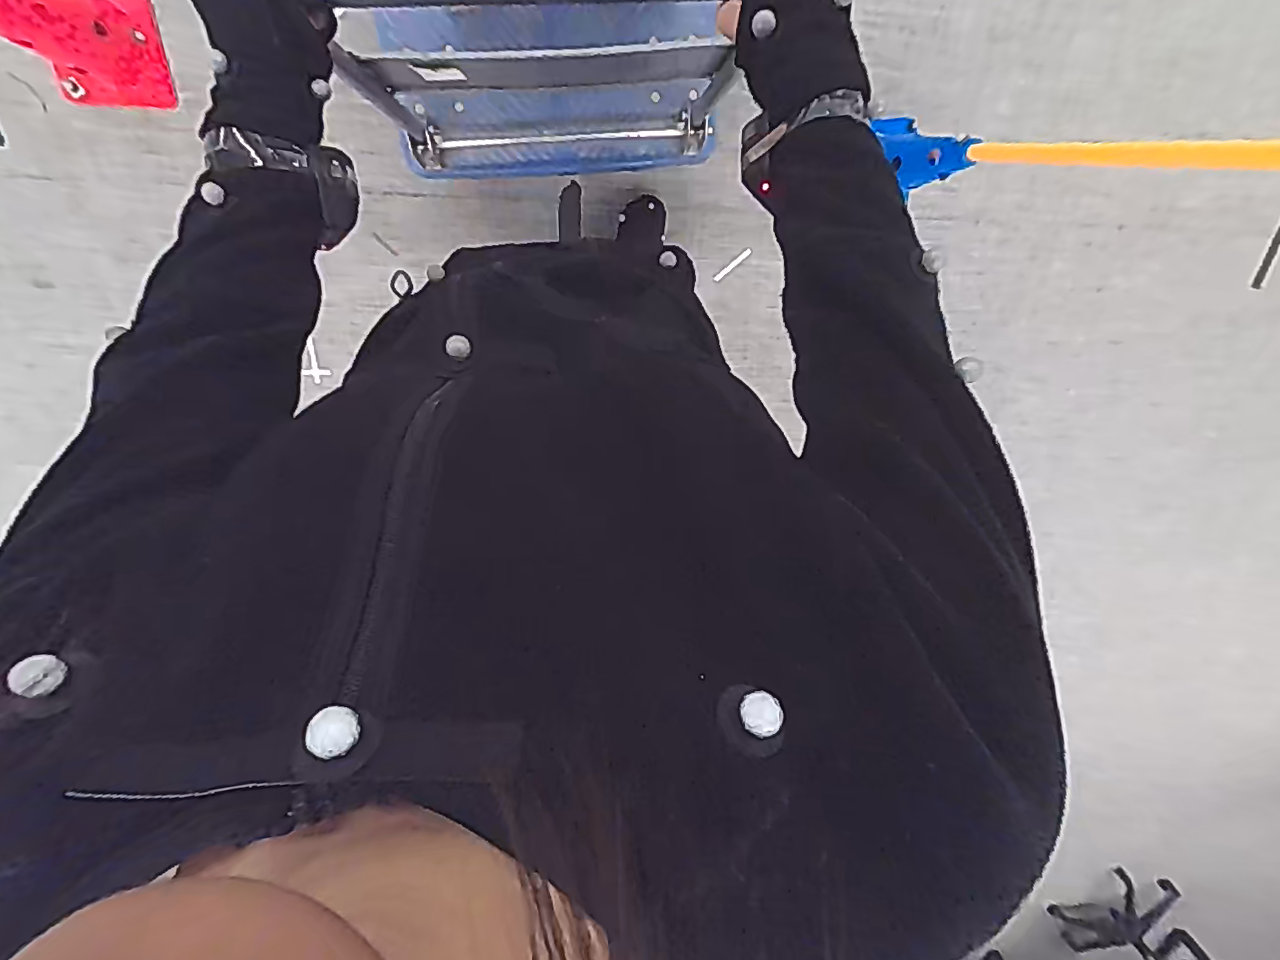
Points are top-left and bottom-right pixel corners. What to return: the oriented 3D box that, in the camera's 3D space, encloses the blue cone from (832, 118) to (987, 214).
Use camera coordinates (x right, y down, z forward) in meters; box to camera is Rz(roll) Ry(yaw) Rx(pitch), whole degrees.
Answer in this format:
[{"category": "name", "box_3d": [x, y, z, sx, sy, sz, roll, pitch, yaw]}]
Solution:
[{"category": "blue cone", "box_3d": [0.554, -0.648, 1.089, 0.193, 0.380, 0.192, -4, 115, -5]}]
